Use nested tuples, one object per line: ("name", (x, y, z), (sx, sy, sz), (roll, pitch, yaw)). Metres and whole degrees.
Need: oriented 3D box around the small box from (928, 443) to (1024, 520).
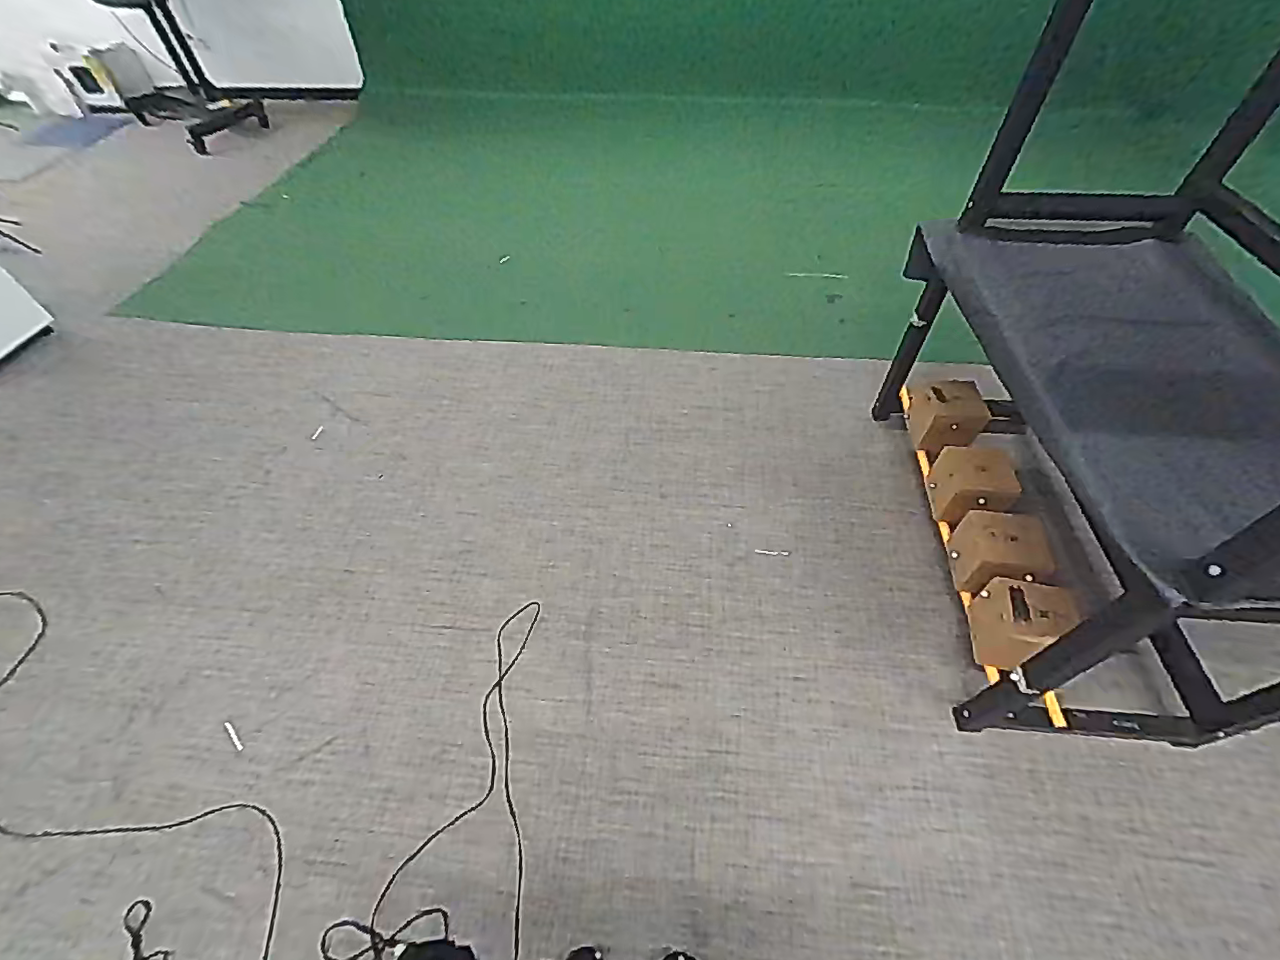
("small box", (0.998, 0.008, 1.623), (0.179, 0.176, 0.168), (3, 52, 7))
